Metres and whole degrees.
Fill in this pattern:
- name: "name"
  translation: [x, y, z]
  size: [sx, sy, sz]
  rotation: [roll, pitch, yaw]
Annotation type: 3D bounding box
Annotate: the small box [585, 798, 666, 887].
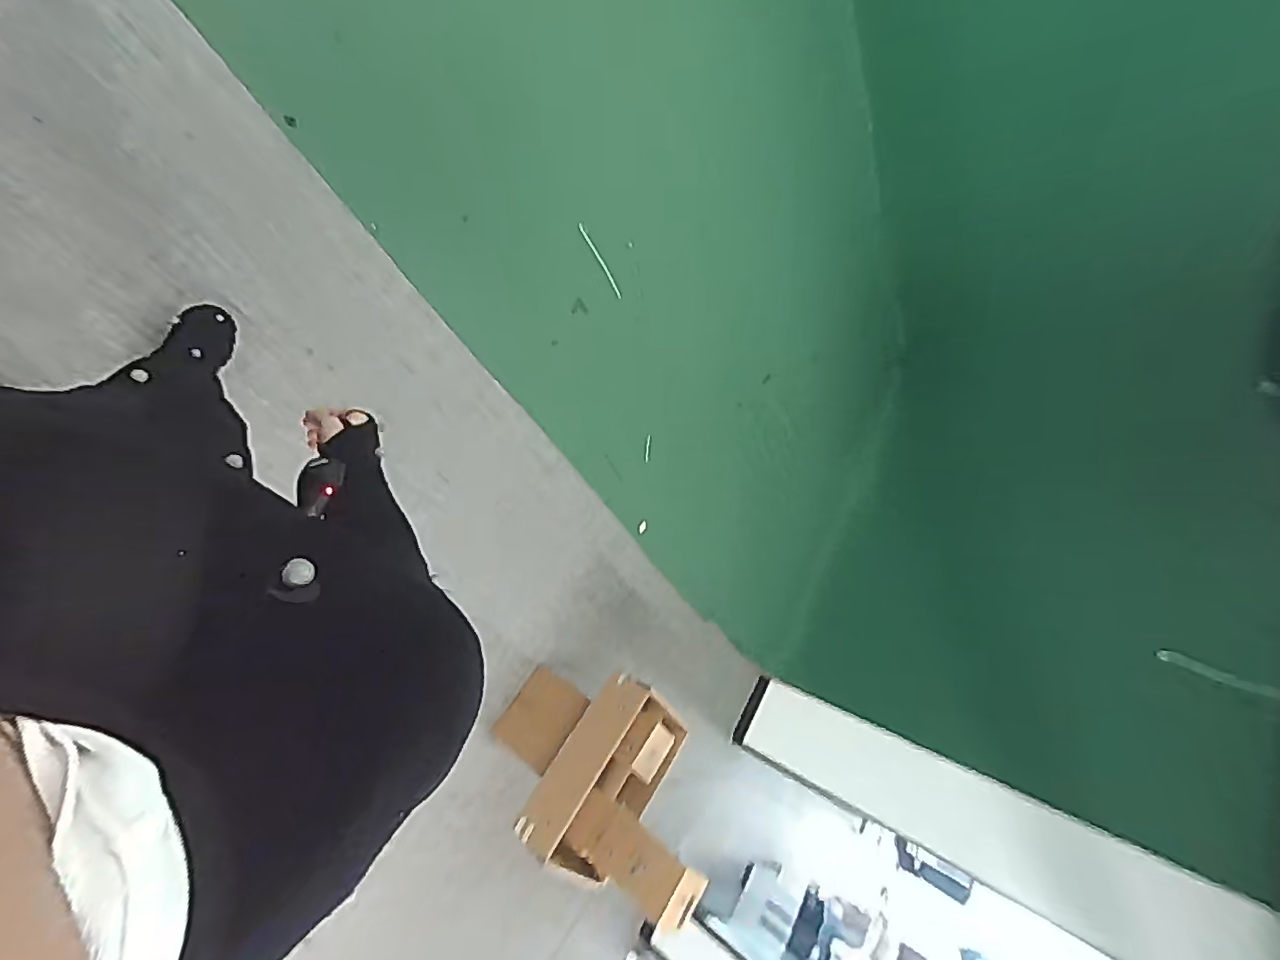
- name: "small box"
  translation: [-0.049, 1.178, 1.767]
  size: [0.168, 0.176, 0.179]
  rotation: [-52, 133, -24]
